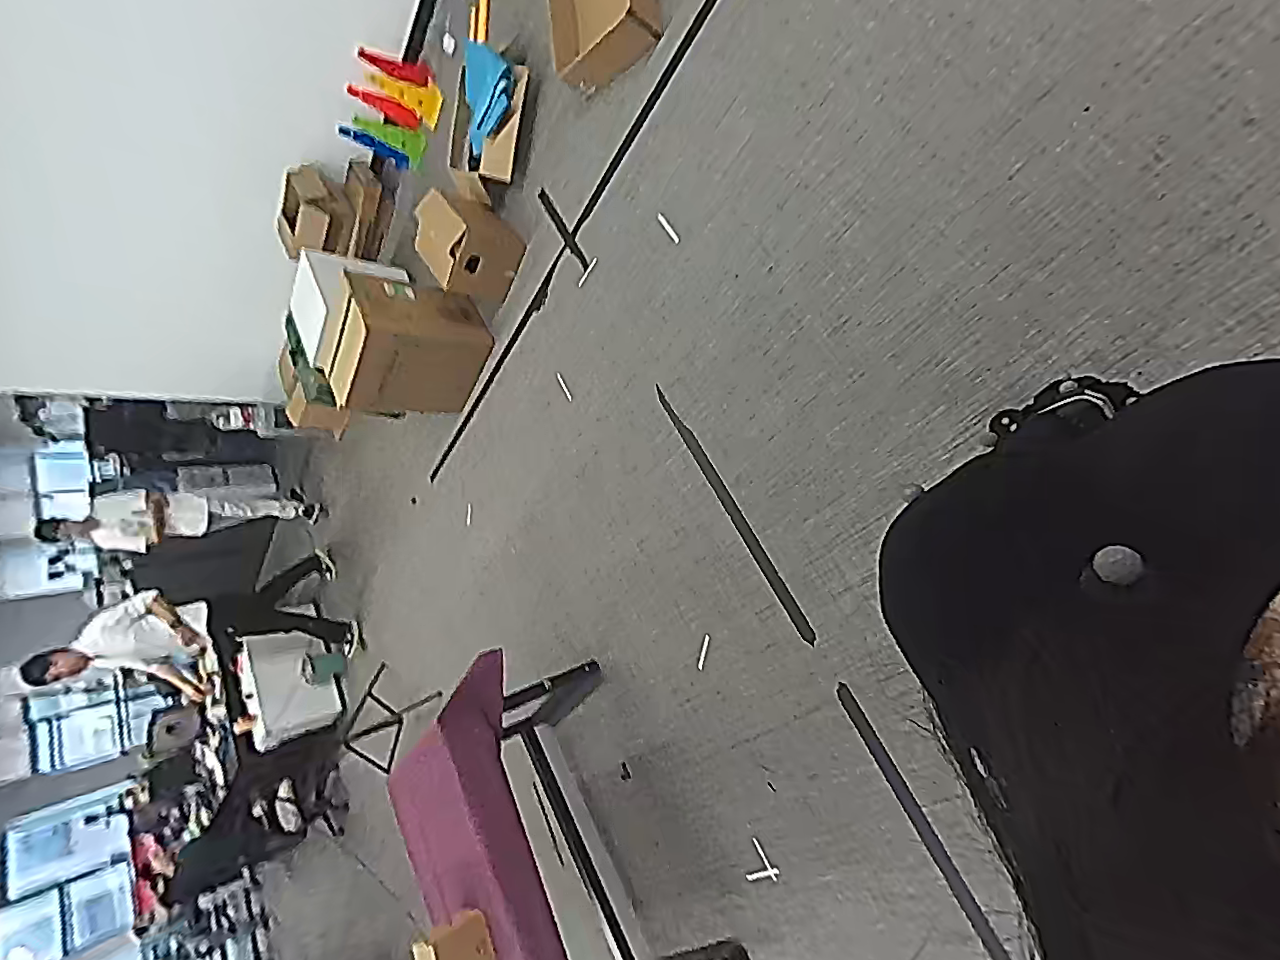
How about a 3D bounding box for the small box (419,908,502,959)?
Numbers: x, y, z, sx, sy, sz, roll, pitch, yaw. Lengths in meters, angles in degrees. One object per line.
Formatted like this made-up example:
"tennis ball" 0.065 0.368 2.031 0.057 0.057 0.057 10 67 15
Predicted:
"small box" -0.549 1.454 1.659 0.168 0.176 0.179 -40 66 38
